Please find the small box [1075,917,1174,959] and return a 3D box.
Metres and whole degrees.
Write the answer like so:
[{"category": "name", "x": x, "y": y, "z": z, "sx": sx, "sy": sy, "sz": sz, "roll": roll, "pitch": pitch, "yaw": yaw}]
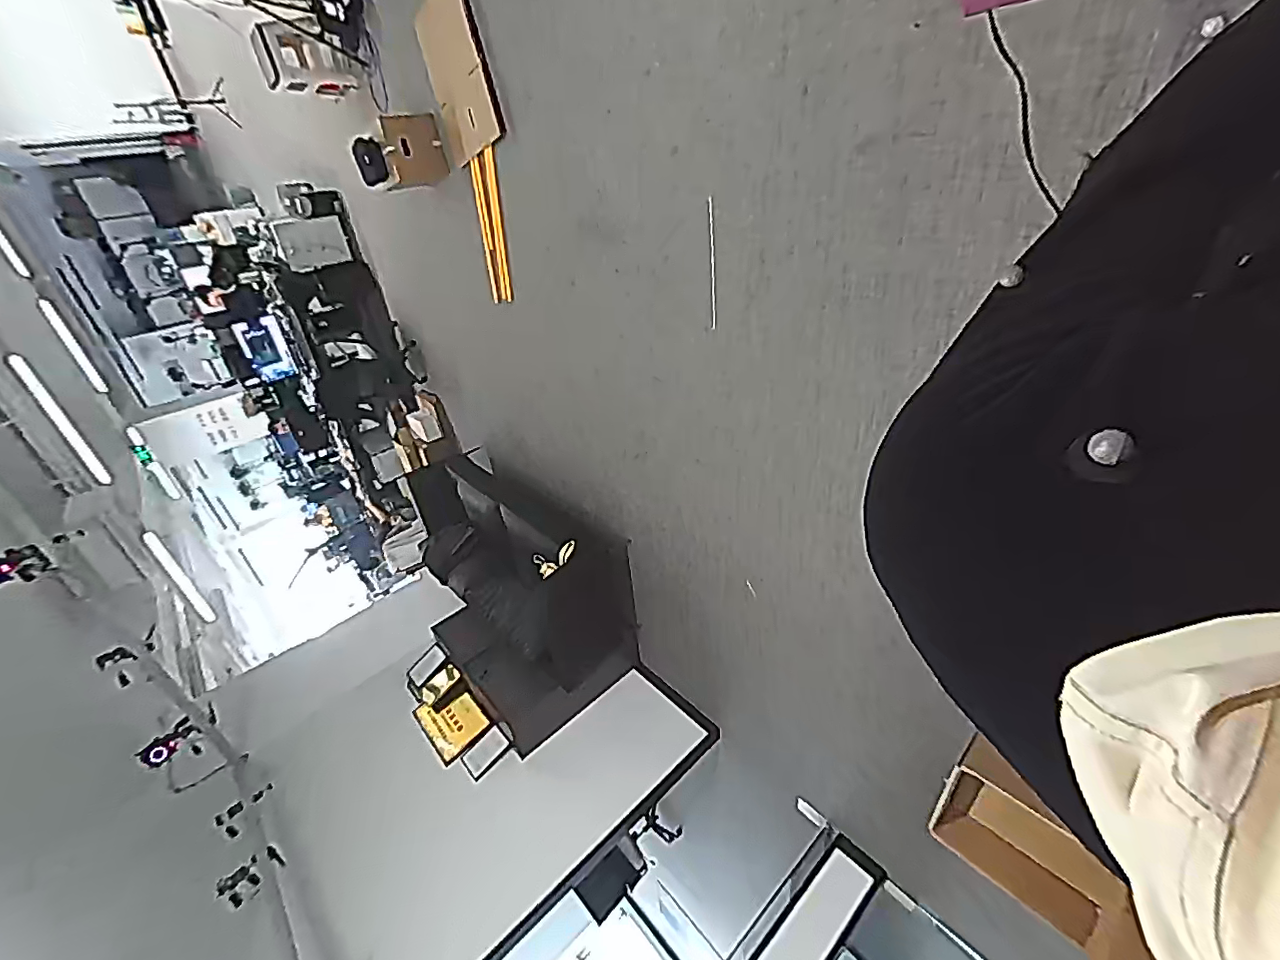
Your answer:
[{"category": "small box", "x": 1.096, "y": 1.142, "z": 1.210, "sx": 0.168, "sy": 0.176, "sz": 0.179, "roll": 29, "pitch": 137, "yaw": 38}]
